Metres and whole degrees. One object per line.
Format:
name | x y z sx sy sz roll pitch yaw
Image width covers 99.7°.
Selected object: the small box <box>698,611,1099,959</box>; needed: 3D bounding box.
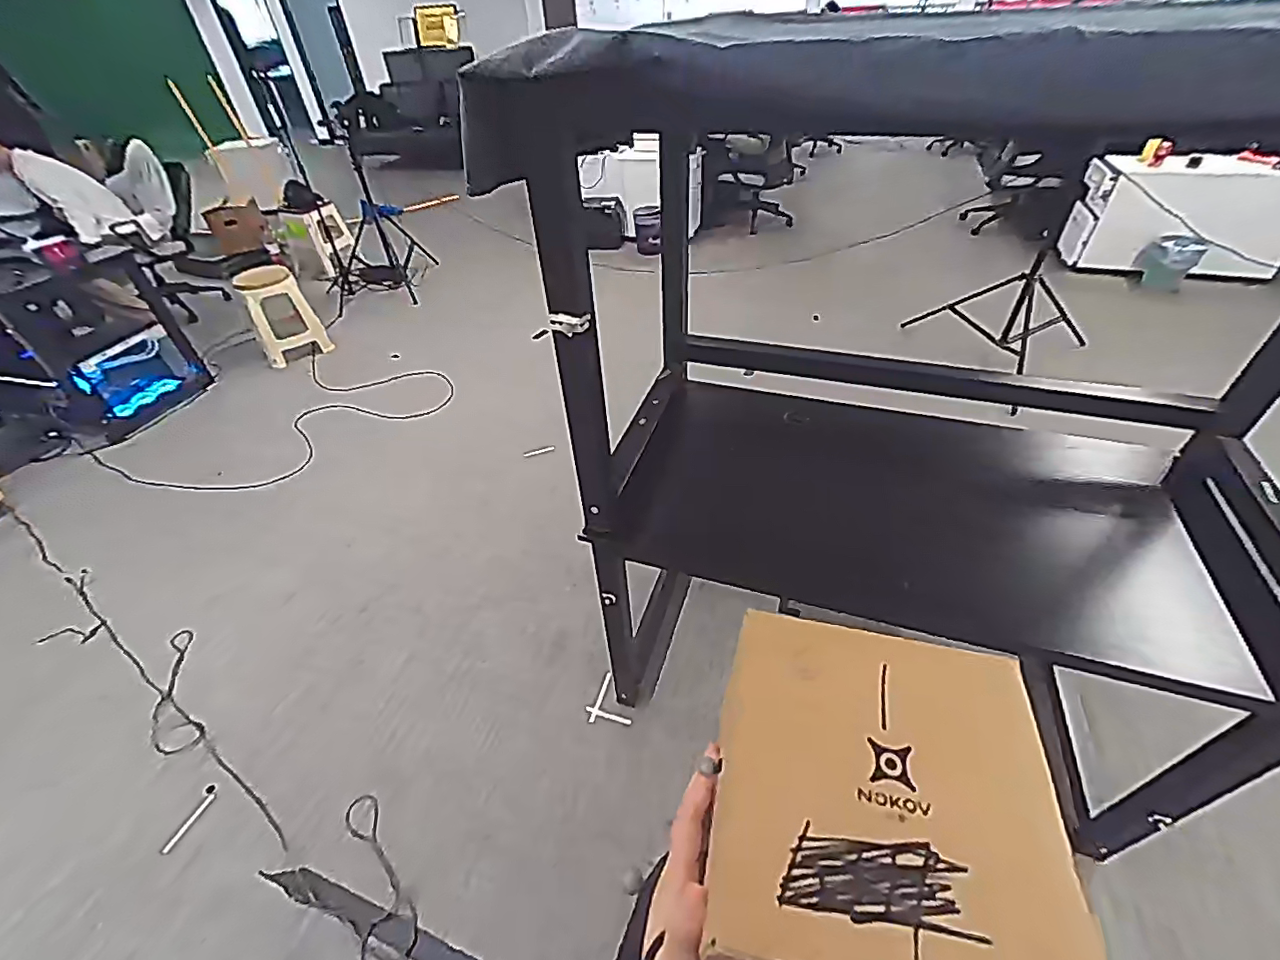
small box | 0.131 0.214 0.339 0.168 0.176 0.179 9 45 9
